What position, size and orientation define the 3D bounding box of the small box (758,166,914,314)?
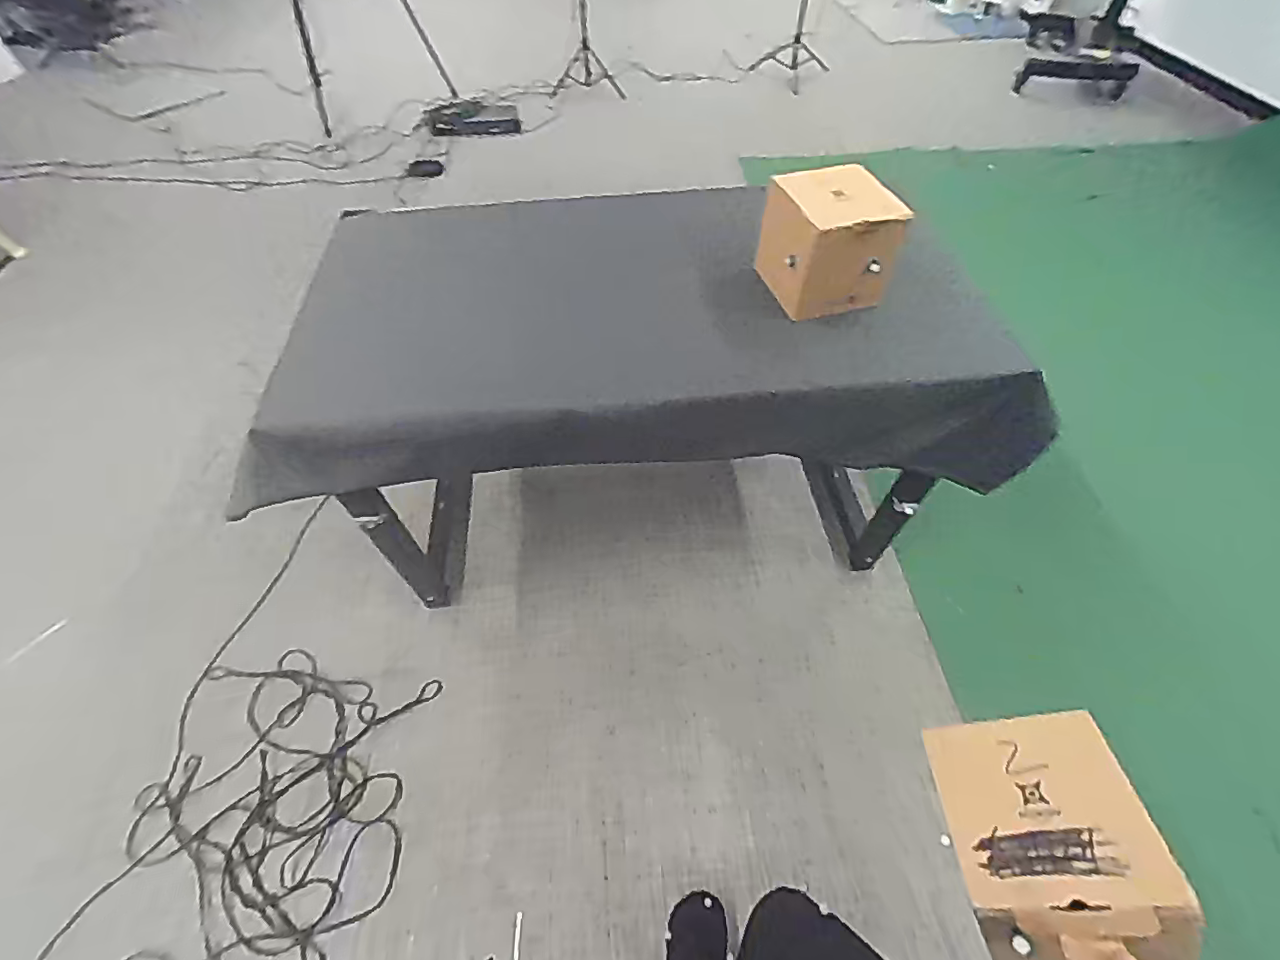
[{"bbox_3d":[0.318,-0.399,0.919,0.168,0.176,0.179,-13,54,-10],"label":"small box"}]
